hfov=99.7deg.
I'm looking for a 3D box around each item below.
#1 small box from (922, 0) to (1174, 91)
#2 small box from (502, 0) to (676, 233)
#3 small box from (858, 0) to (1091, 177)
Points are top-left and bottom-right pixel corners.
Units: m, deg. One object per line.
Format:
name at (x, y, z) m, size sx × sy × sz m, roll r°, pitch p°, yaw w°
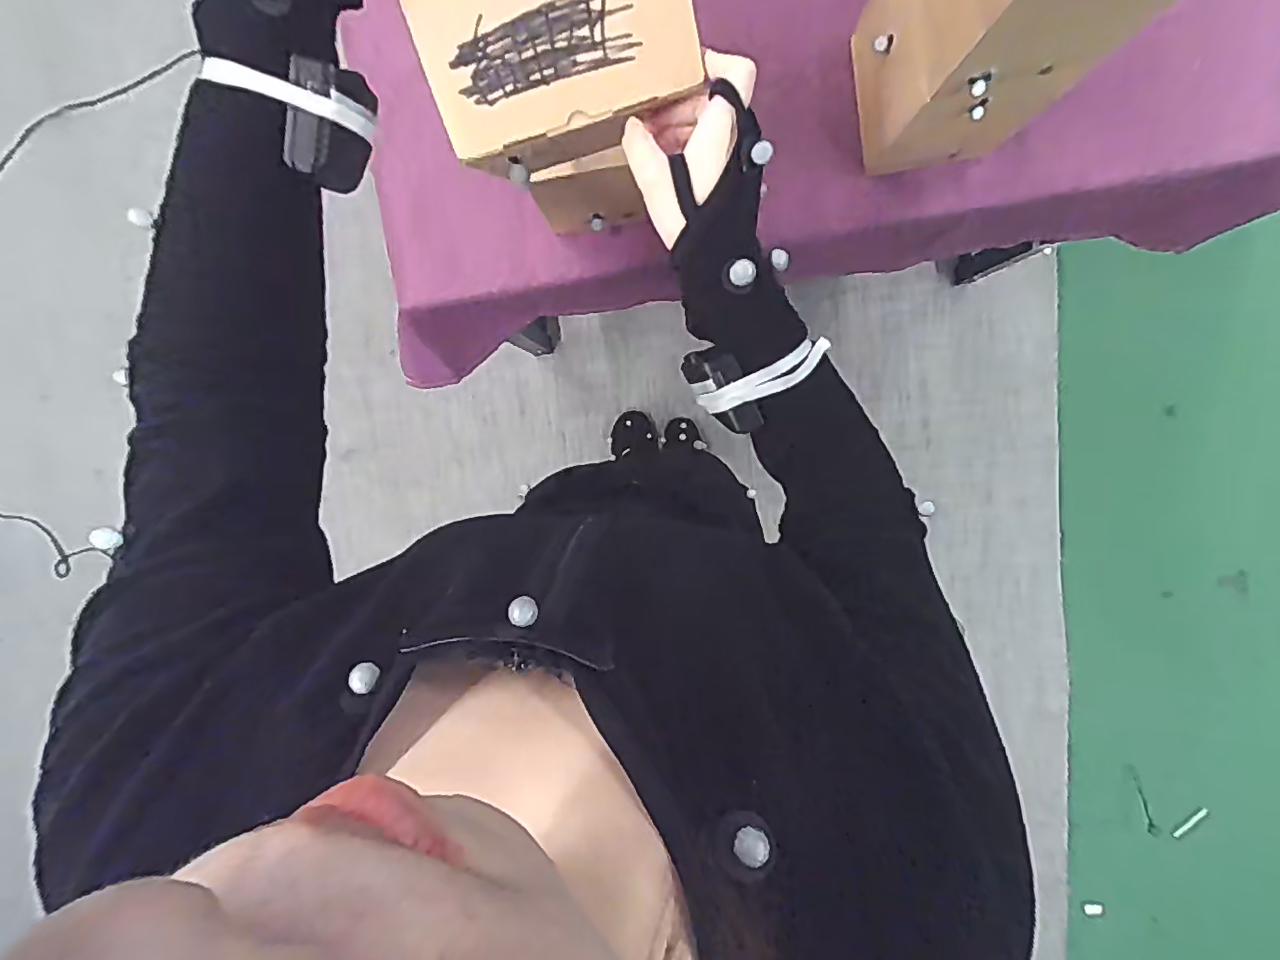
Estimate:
small box at (0.358, -0.467, 0.455) m, size 0.168 × 0.176 × 0.179 m, roll -9°, pitch 96°, yaw 3°
small box at (-0.051, -0.421, 0.645) m, size 0.168 × 0.176 × 0.179 m, roll -7°, pitch 97°, yaw 4°
small box at (0.364, -0.485, 0.619) m, size 0.168 × 0.176 × 0.179 m, roll -8°, pitch 95°, yaw 5°
